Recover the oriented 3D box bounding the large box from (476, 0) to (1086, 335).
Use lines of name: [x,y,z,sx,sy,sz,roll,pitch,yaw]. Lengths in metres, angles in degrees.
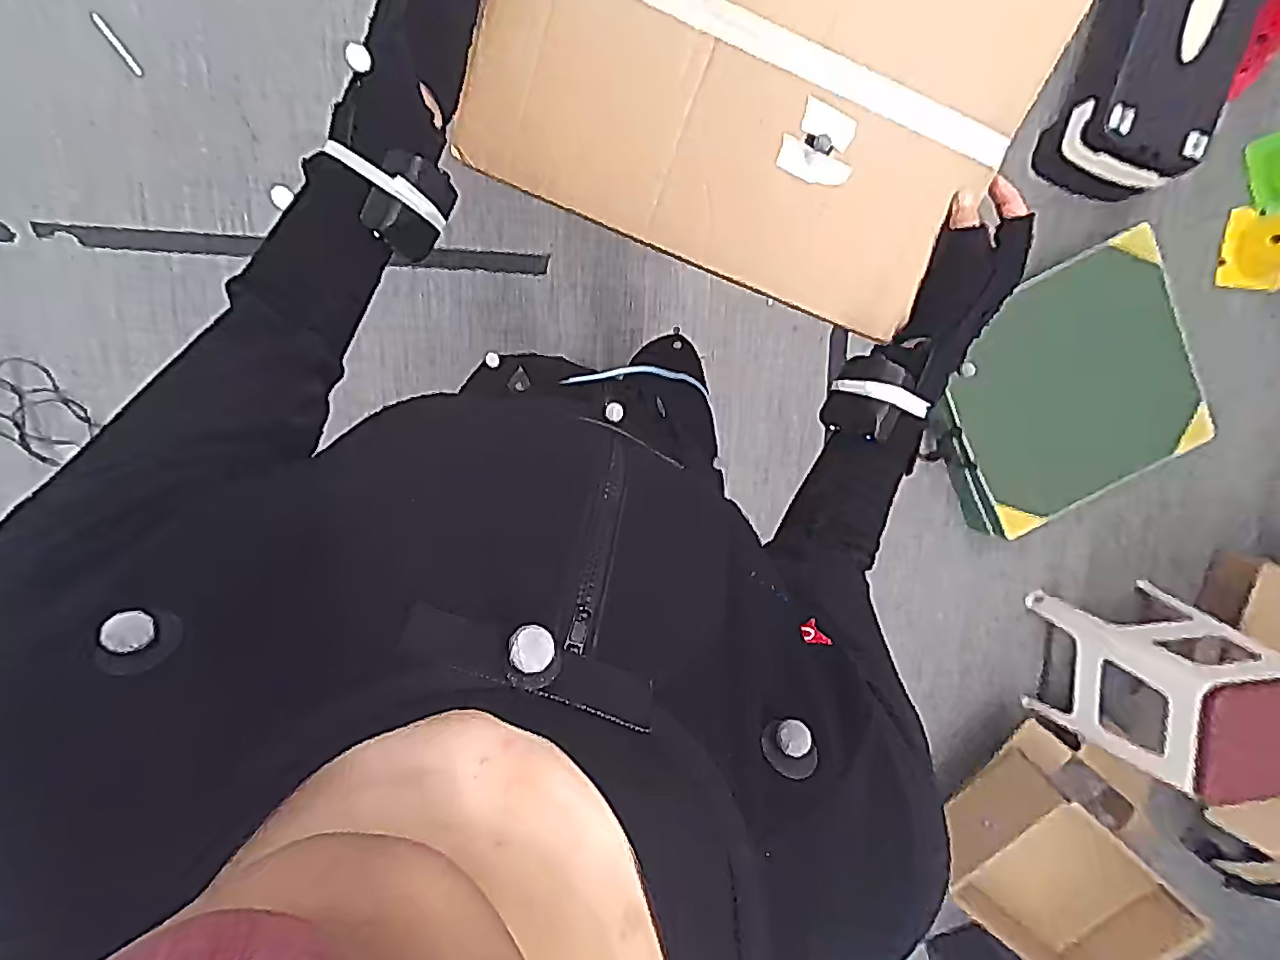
large box: [0.102,-0.383,0.545,0.408,0.320,0.320,20,113,-8]
